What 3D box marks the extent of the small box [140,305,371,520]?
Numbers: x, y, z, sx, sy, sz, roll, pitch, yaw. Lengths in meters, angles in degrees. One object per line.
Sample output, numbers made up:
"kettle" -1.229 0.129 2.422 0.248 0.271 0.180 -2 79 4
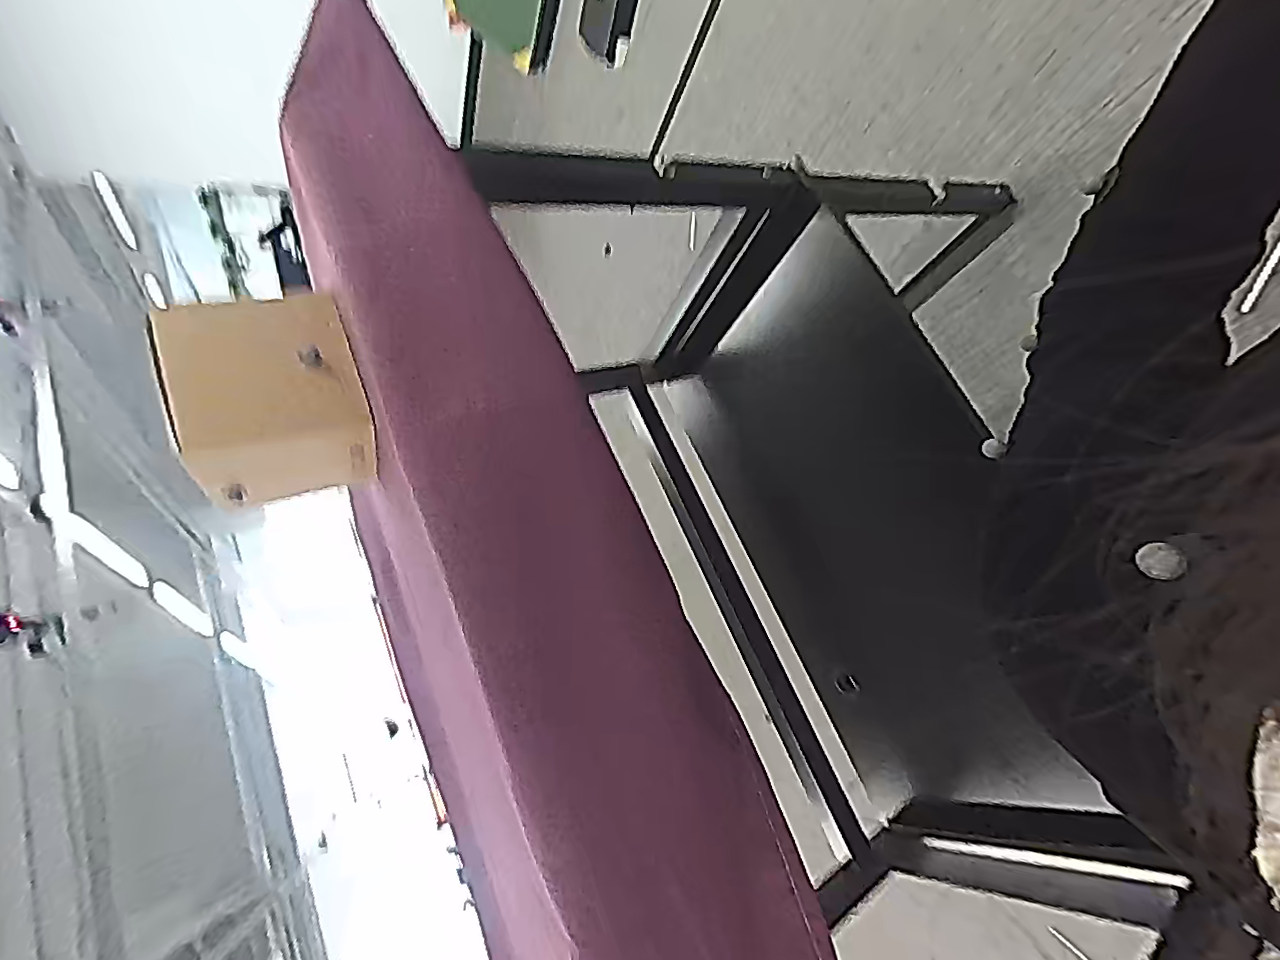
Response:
"small box" -0.414 -0.078 0.609 0.179 0.176 0.168 66 150 15
